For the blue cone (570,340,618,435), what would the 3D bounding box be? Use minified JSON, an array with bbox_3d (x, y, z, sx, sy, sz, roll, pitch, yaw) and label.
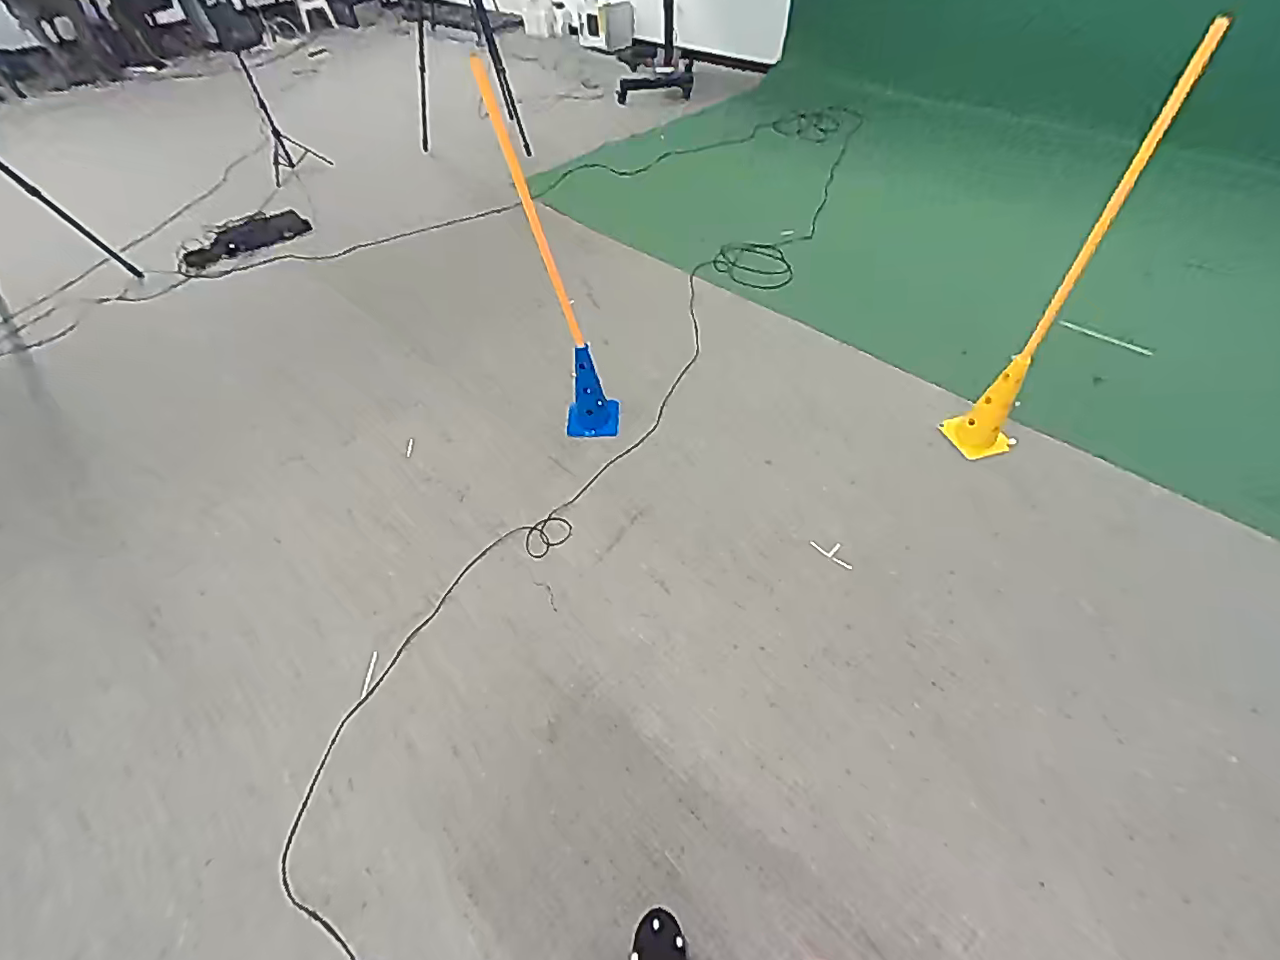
[{"bbox_3d":[-0.191,-0.347,1.995,0.193,0.380,0.192,-3,51,2],"label":"blue cone"}]
